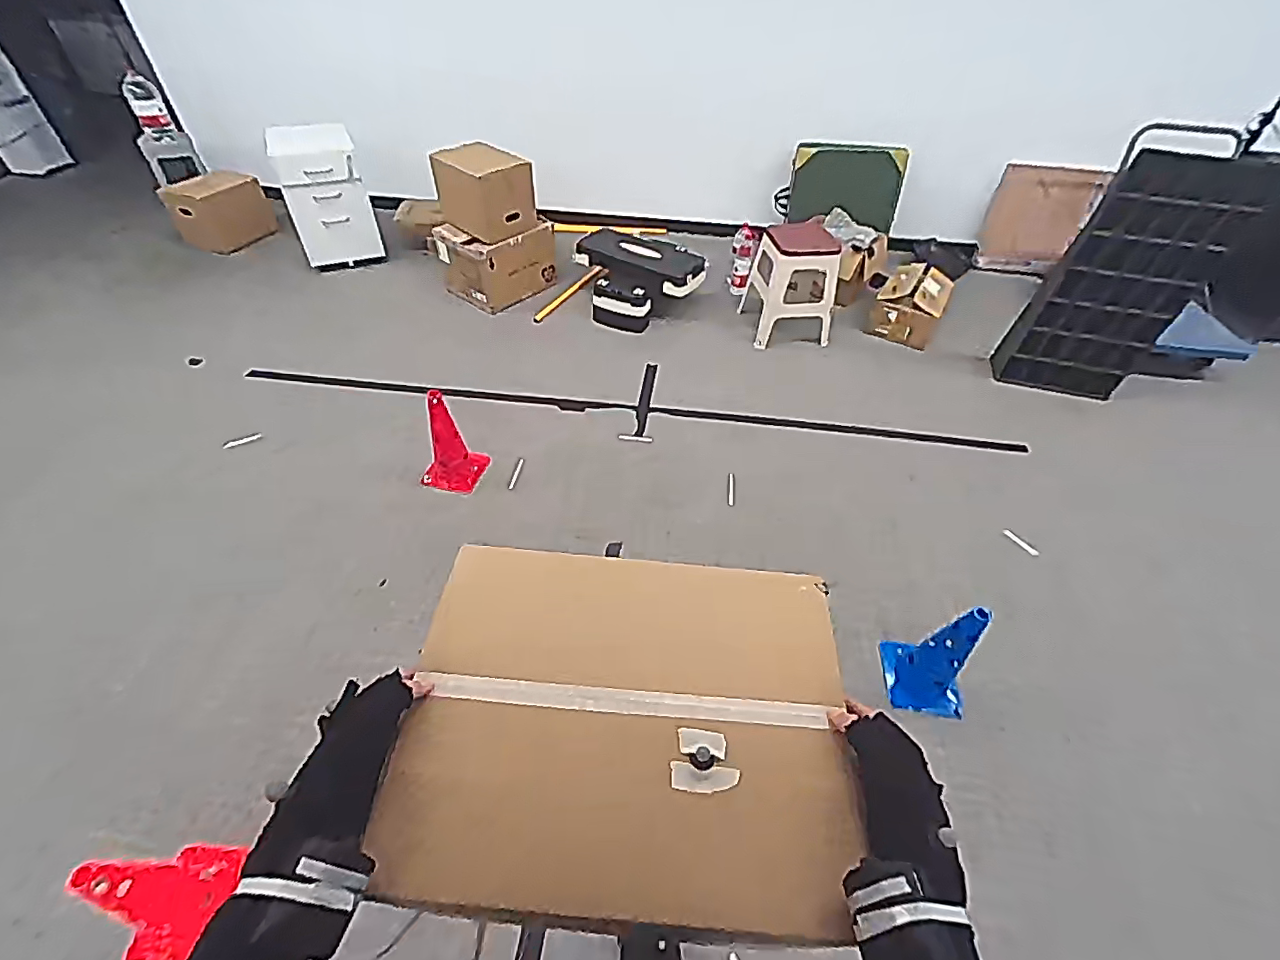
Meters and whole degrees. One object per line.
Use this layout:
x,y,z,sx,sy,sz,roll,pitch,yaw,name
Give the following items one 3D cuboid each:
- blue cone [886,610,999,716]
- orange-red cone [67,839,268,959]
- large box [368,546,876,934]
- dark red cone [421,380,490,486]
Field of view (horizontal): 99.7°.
0.808,0.449,1.409,0.192,0.380,0.193,10,47,5,blue cone
-0.907,0.756,1.001,0.198,0.360,0.199,4,47,2,orange-red cone
-0.015,0.303,0.623,0.408,0.320,0.320,6,49,0,large box
-0.669,-0.176,1.876,0.201,0.394,0.202,12,47,7,dark red cone
